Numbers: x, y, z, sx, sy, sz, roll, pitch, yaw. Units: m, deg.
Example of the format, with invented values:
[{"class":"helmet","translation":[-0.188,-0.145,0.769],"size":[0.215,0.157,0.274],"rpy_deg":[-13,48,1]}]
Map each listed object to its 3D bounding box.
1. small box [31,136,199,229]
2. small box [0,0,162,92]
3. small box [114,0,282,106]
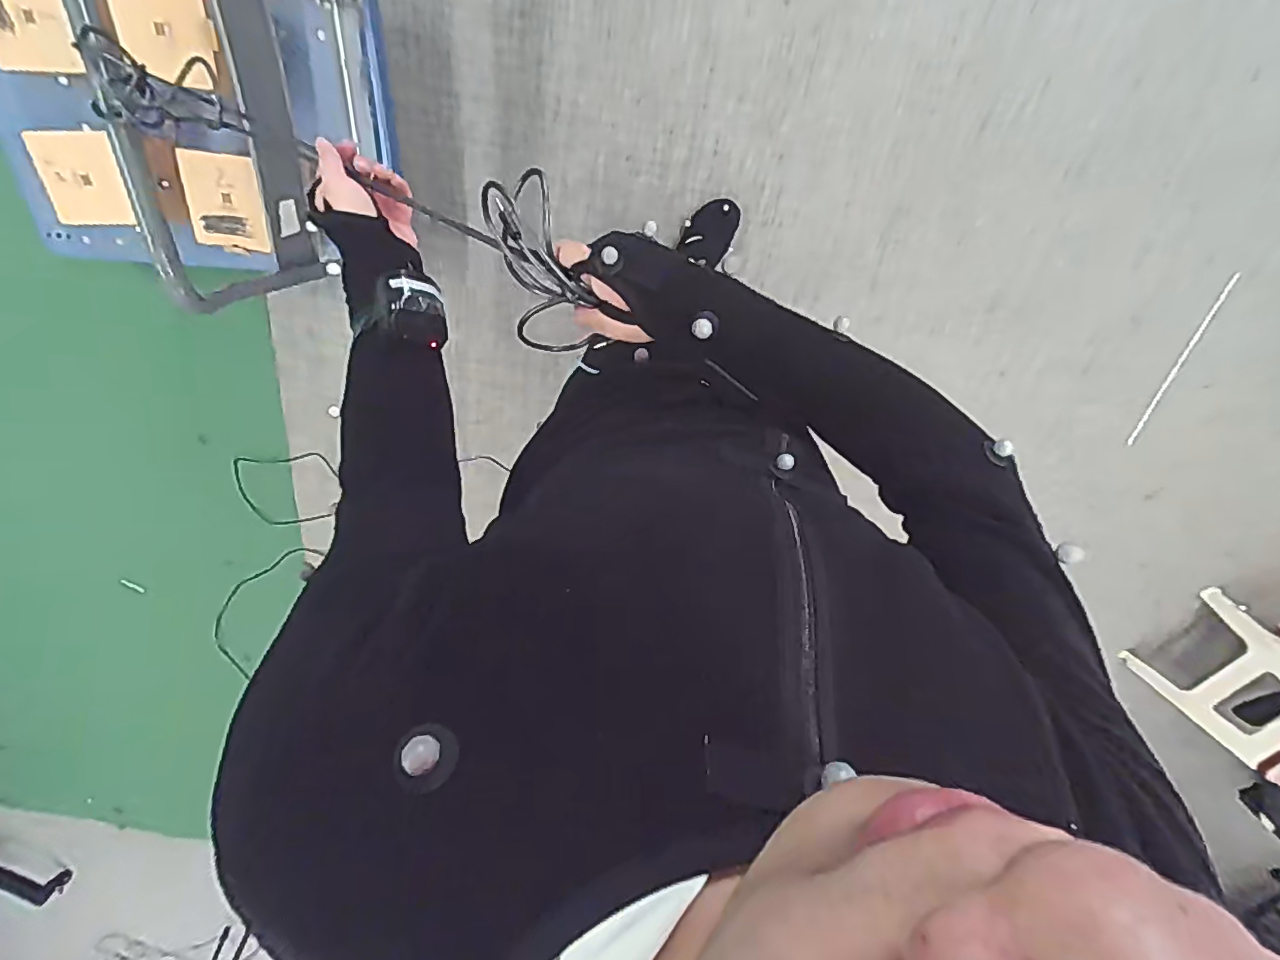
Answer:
[{"class":"small box","translation":[-1.100,-0.634,1.158],"size":[0.179,0.176,0.168],"rpy_deg":[1,117,2]},{"class":"small box","translation":[-1.082,-0.859,1.038],"size":[0.179,0.176,0.168],"rpy_deg":[3,119,1]},{"class":"small box","translation":[-0.839,-0.835,1.039],"size":[0.179,0.176,0.168],"rpy_deg":[6,118,0]}]
